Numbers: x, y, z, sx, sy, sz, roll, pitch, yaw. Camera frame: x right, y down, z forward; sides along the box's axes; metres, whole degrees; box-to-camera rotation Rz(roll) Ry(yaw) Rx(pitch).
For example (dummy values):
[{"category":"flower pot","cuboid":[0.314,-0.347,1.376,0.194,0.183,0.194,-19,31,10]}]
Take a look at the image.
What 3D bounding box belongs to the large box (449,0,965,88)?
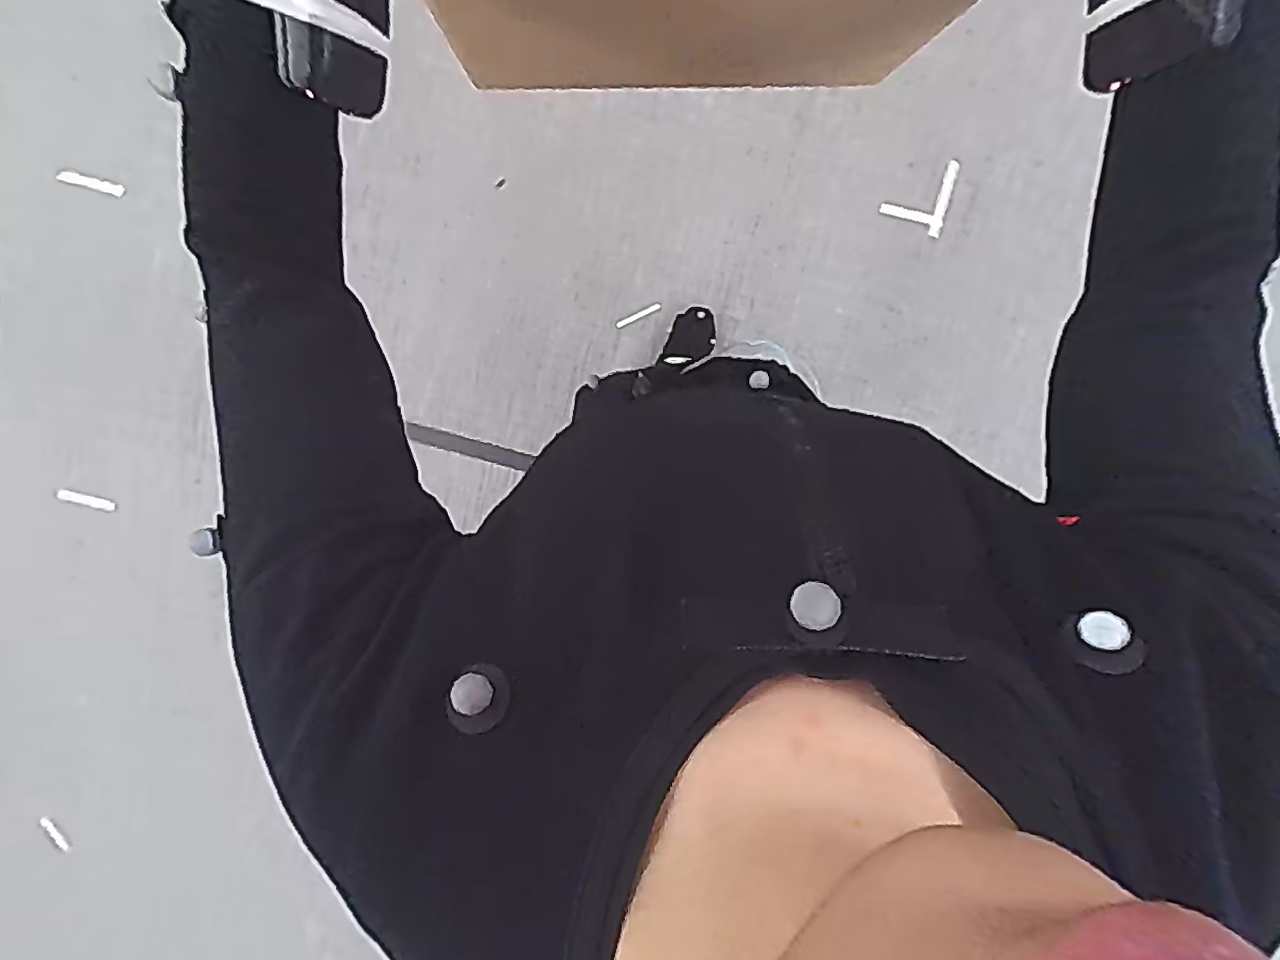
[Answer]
[{"category":"large box","cuboid":[0.050,-0.499,0.357,0.408,0.320,0.320,-2,108,-3]}]
